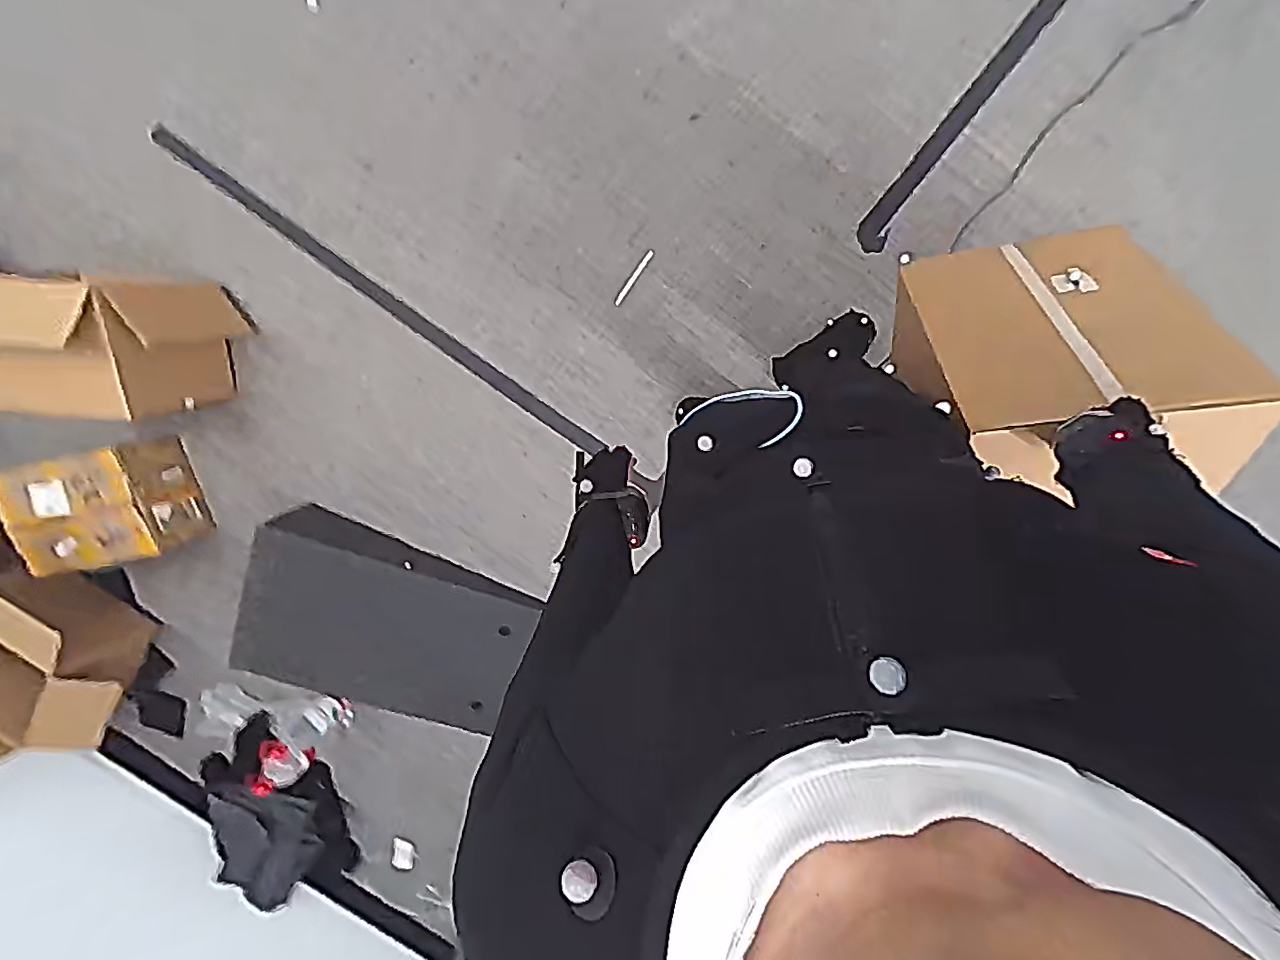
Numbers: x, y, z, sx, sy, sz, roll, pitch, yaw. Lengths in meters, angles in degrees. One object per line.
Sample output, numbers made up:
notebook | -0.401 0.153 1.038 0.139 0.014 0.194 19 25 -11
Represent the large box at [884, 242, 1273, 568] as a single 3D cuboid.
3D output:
large box | 0.603 -0.116 0.862 0.320 0.408 0.320 -5 137 13
